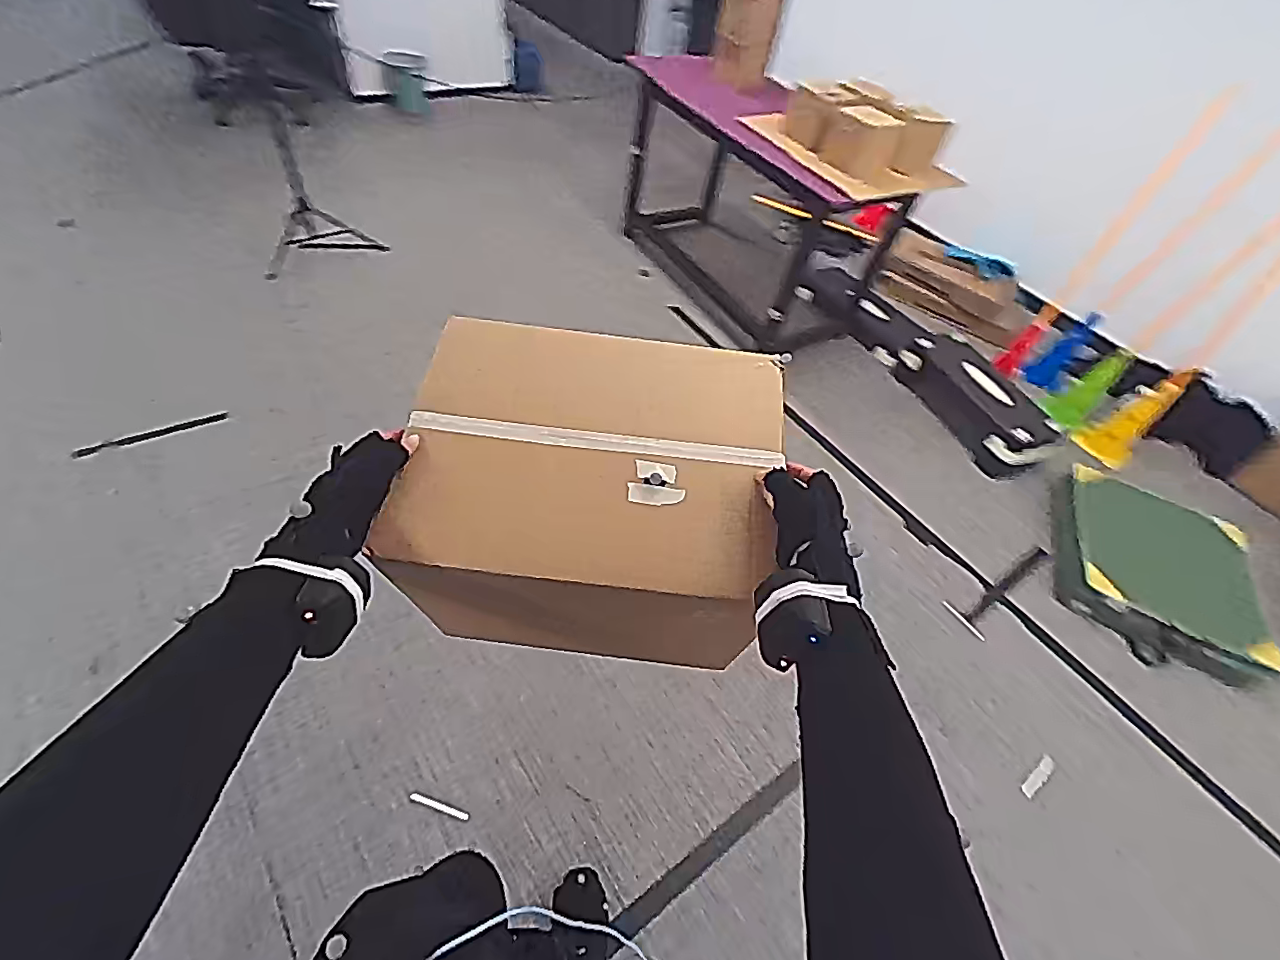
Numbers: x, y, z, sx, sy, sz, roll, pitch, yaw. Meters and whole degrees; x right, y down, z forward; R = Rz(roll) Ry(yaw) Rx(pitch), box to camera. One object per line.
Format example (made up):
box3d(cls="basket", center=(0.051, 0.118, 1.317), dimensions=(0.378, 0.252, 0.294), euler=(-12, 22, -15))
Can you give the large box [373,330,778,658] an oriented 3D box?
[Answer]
box3d(cls="large box", center=(-0.064, 0.037, 0.725), dimensions=(0.408, 0.320, 0.320), euler=(6, 61, -1))
